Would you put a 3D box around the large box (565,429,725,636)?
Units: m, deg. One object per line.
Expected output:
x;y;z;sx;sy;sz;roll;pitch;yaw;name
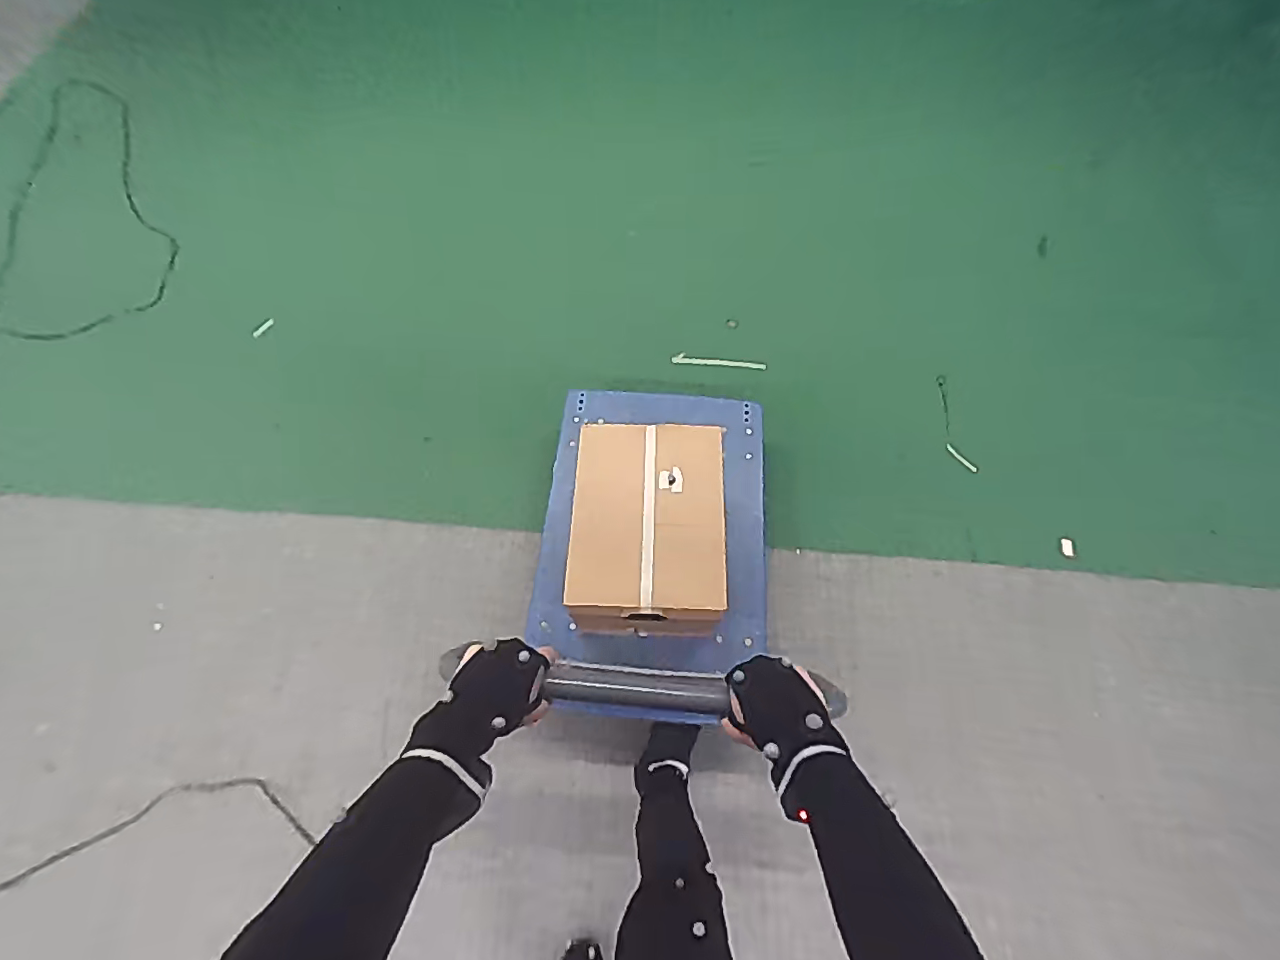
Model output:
0.017;0.133;1.251;0.320;0.320;0.408;1;64;1;large box
